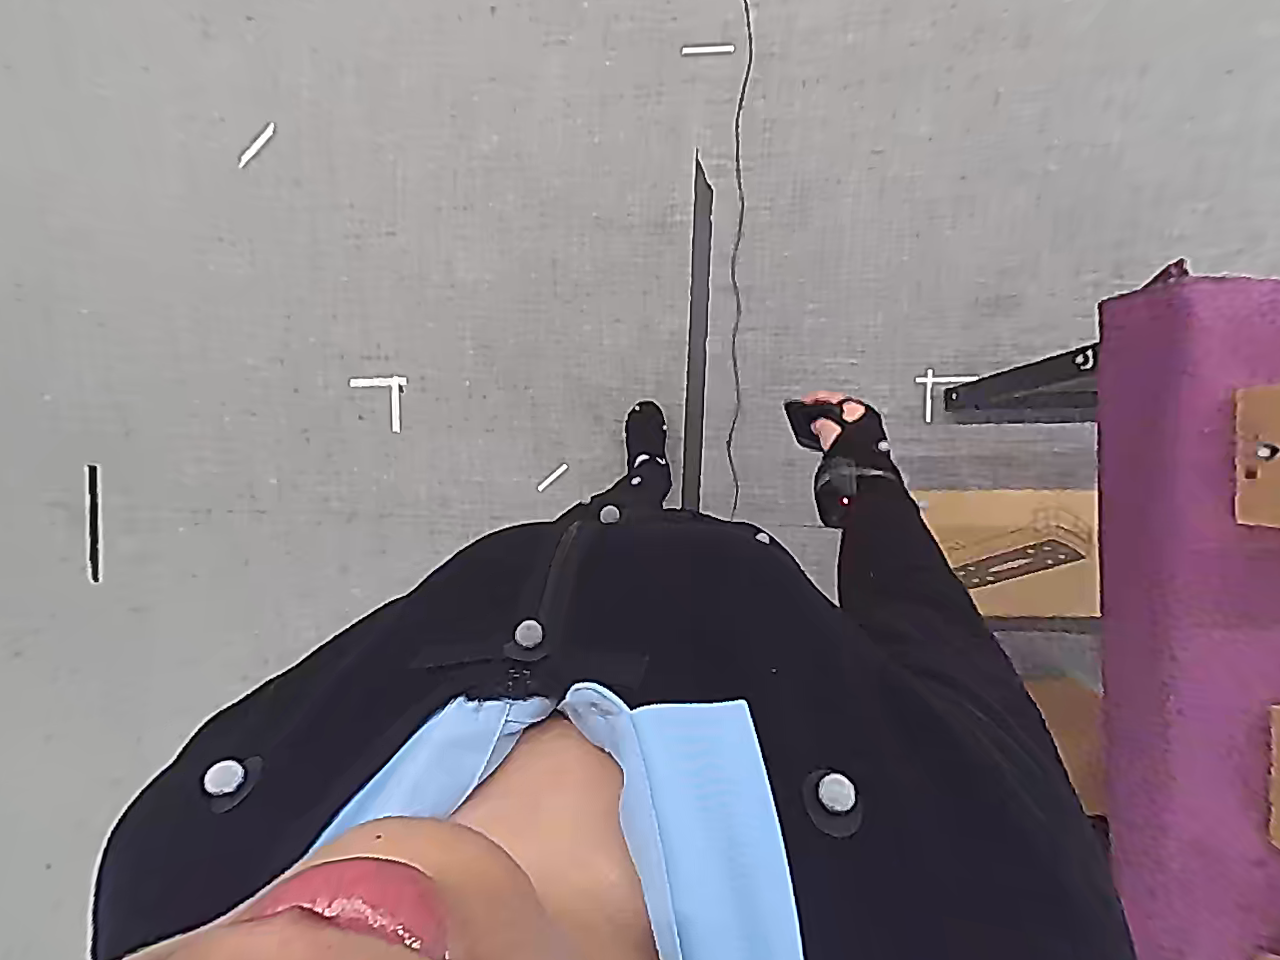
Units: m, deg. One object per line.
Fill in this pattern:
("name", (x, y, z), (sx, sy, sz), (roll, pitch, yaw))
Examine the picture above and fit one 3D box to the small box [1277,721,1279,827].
("small box", (0.856, 0.366, 0.578), (0.168, 0.176, 0.179), (-1, 91, 4))
